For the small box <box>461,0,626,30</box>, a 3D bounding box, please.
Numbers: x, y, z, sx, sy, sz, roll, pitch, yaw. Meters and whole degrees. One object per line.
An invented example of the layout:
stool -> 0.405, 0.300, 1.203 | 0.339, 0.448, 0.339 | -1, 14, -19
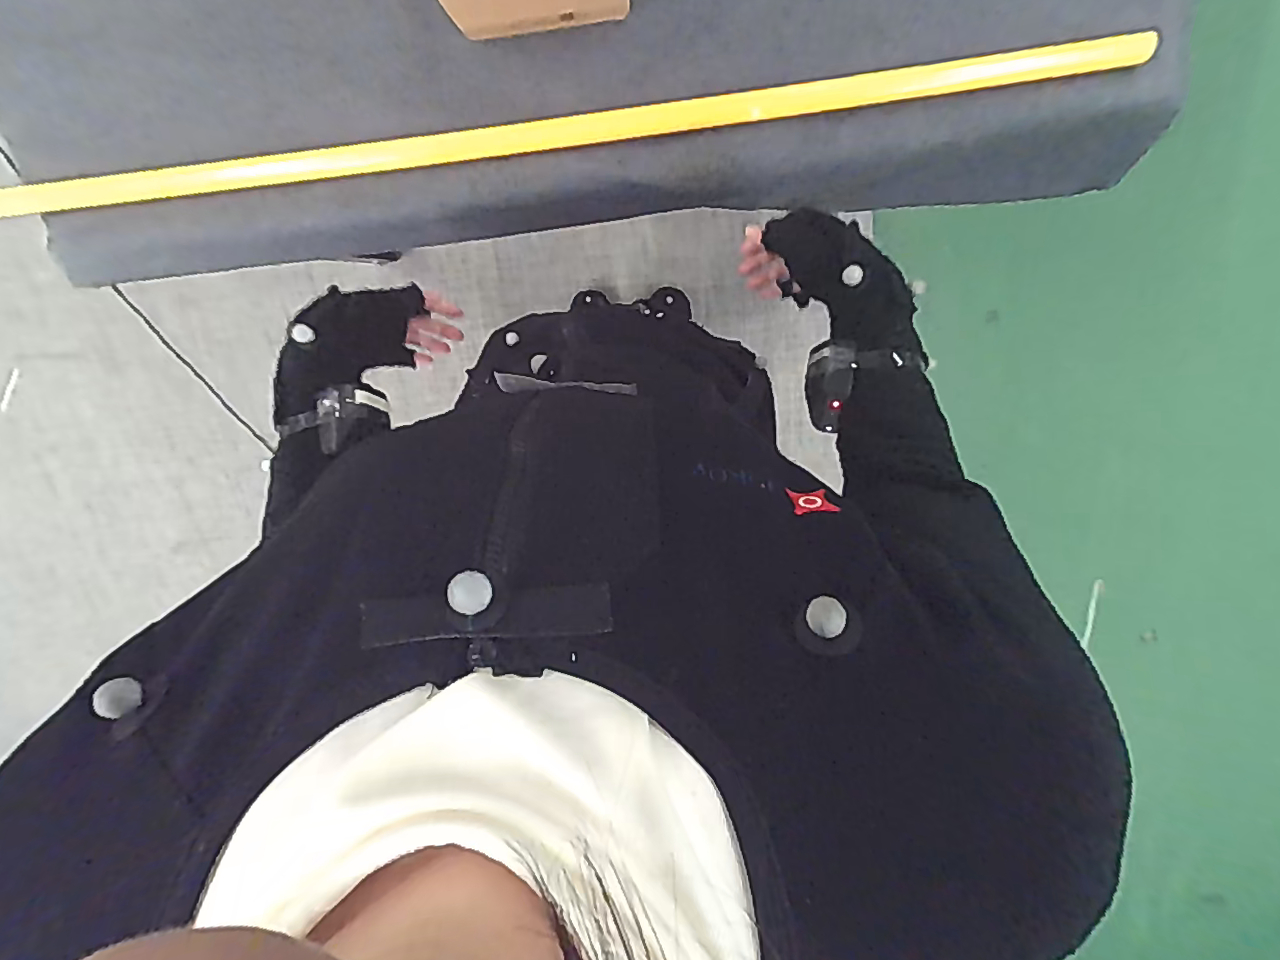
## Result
small box -> -0.101, -0.512, 0.433 | 0.168, 0.176, 0.179 | -6, 109, 4
